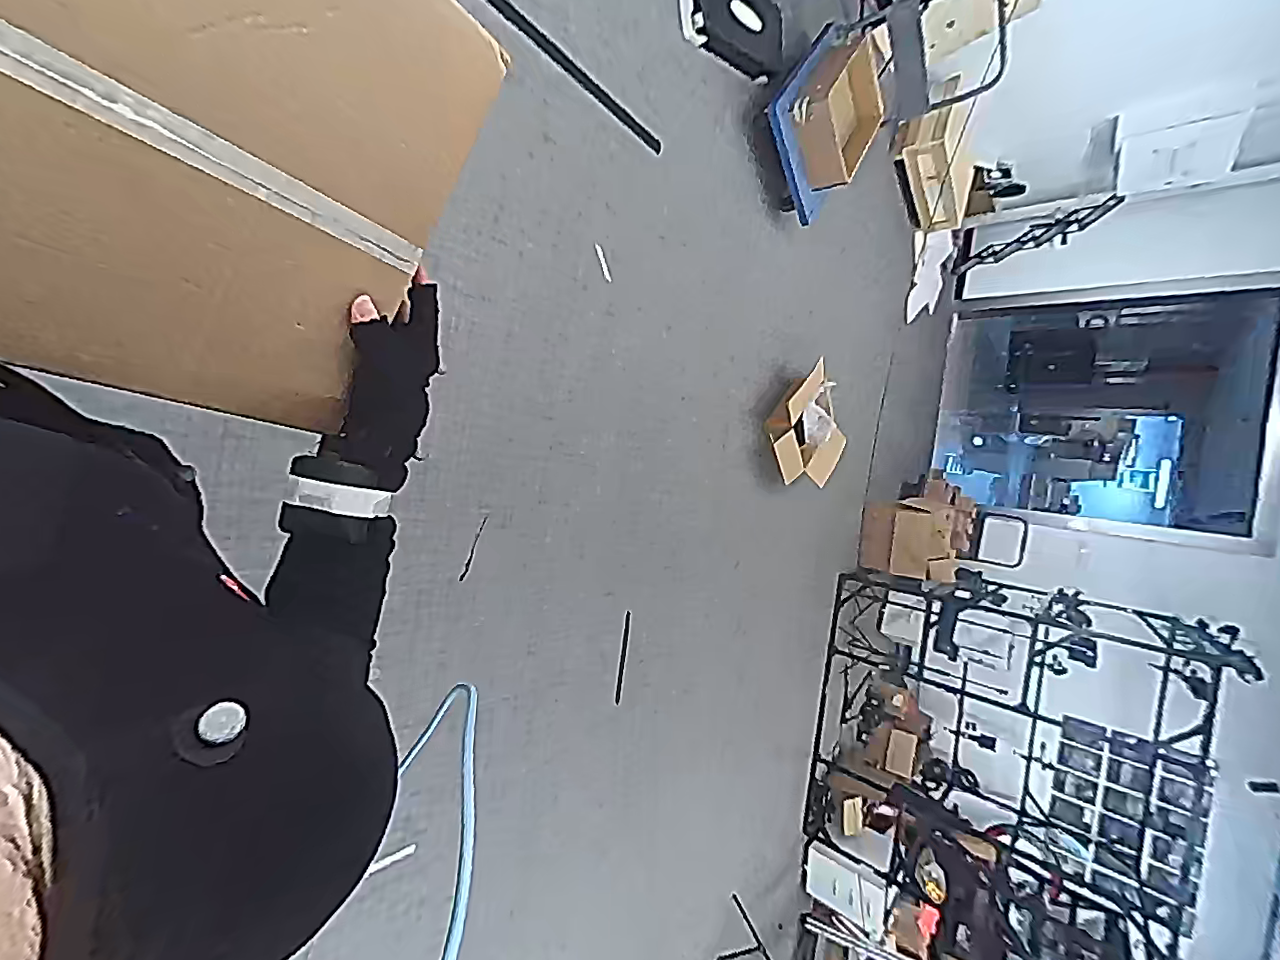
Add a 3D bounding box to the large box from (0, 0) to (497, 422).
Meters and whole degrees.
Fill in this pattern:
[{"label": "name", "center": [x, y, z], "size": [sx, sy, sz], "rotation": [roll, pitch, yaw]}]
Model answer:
[{"label": "large box", "center": [-0.387, -0.282, 0.349], "size": [0.408, 0.320, 0.320], "rotation": [15, 112, -51]}]
